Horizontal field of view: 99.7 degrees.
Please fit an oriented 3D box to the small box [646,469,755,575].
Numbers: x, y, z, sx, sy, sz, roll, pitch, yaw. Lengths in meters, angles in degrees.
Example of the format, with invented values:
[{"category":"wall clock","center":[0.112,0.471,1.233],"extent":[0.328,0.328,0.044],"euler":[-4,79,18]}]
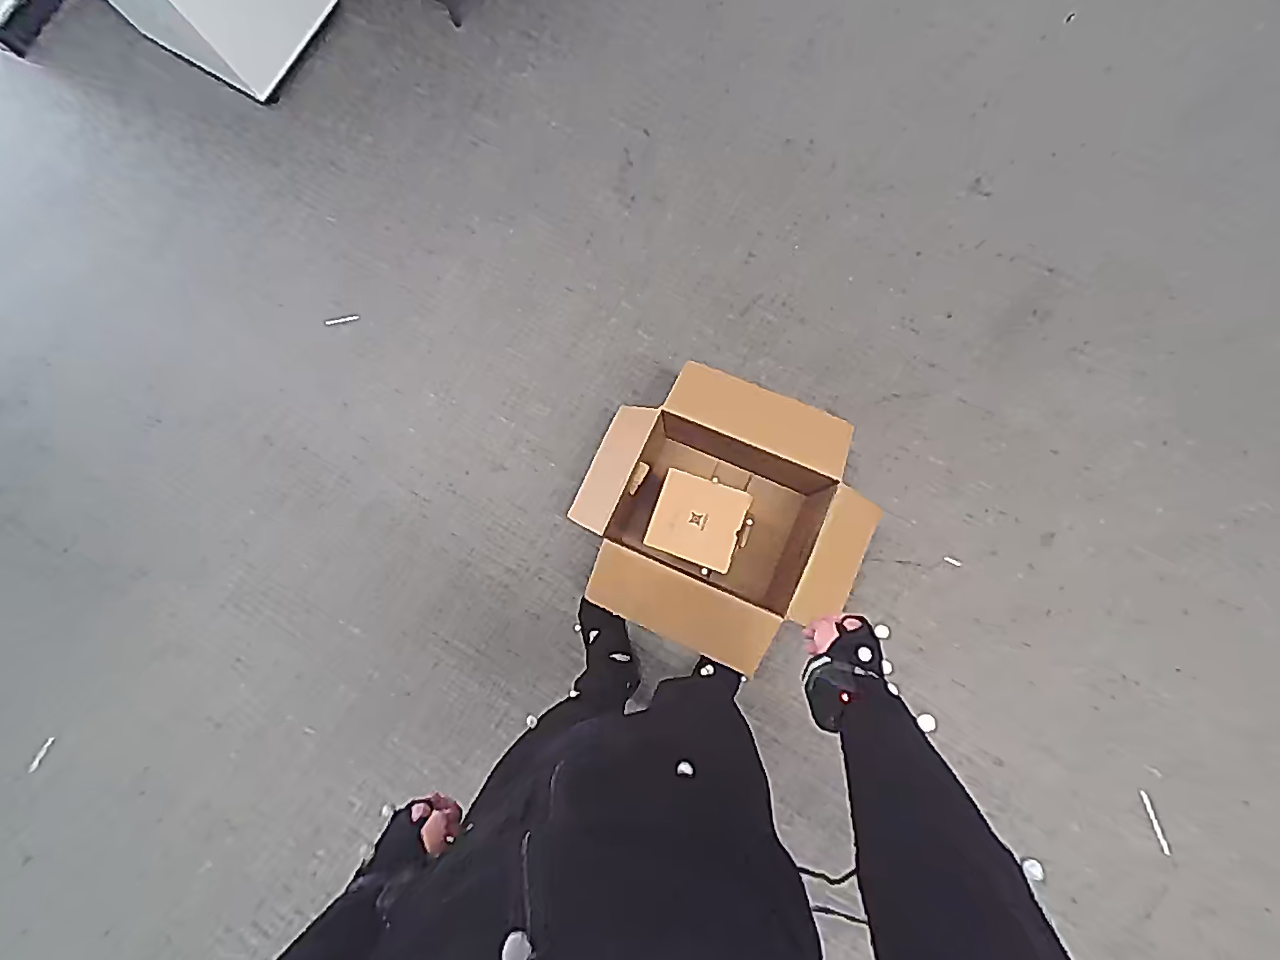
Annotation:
[{"category":"small box","center":[0.131,0.094,1.140],"extent":[0.179,0.176,0.168],"euler":[19,82,13]}]
